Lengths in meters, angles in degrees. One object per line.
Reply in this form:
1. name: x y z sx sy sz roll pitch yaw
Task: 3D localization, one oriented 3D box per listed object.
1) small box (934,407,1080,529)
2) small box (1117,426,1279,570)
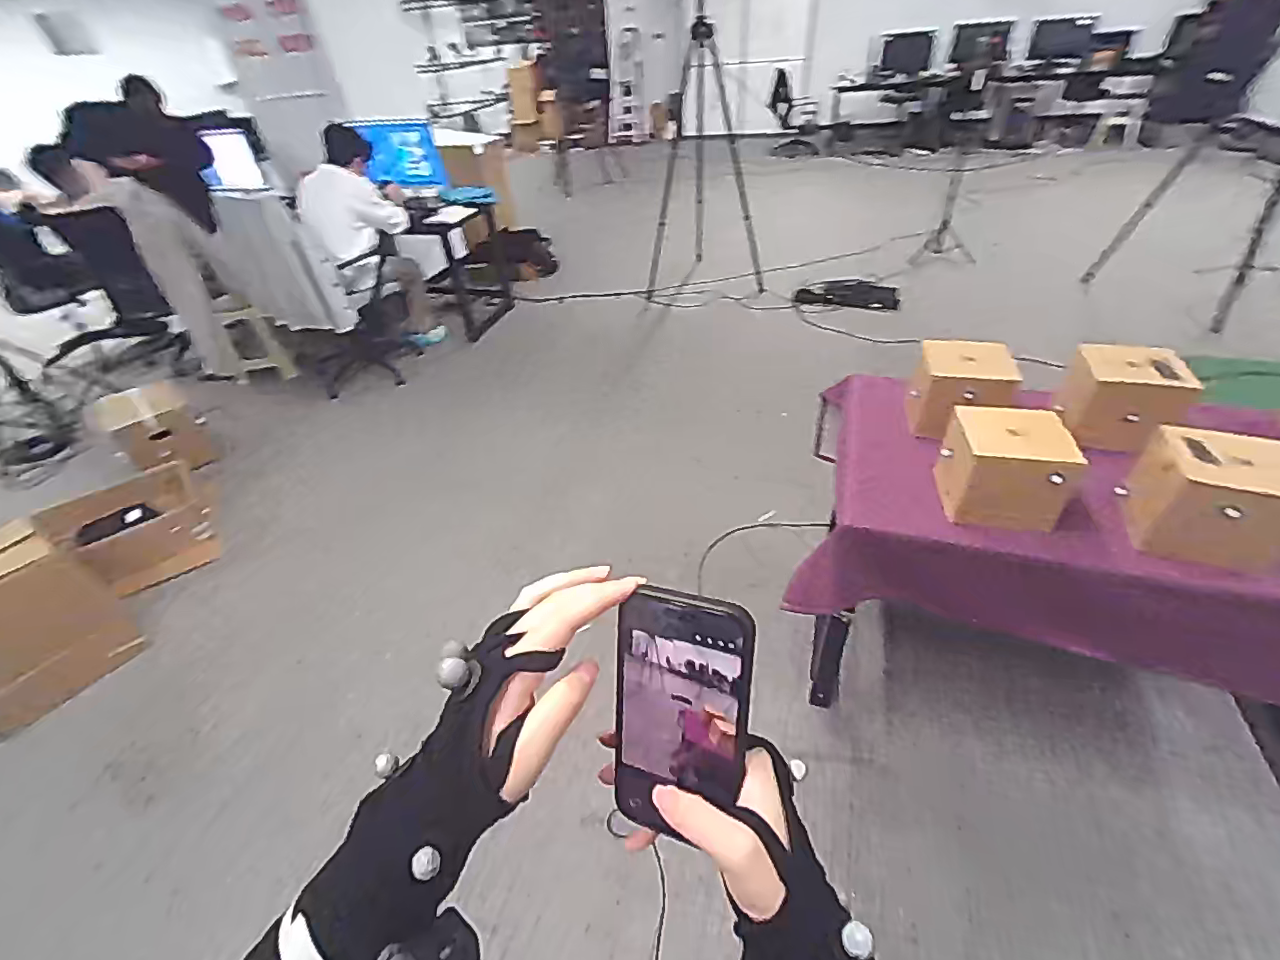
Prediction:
1. small box: 0.688 -0.023 1.044 0.179 0.176 0.168 6 41 11
2. small box: 0.980 0.032 0.945 0.179 0.176 0.168 14 44 20
